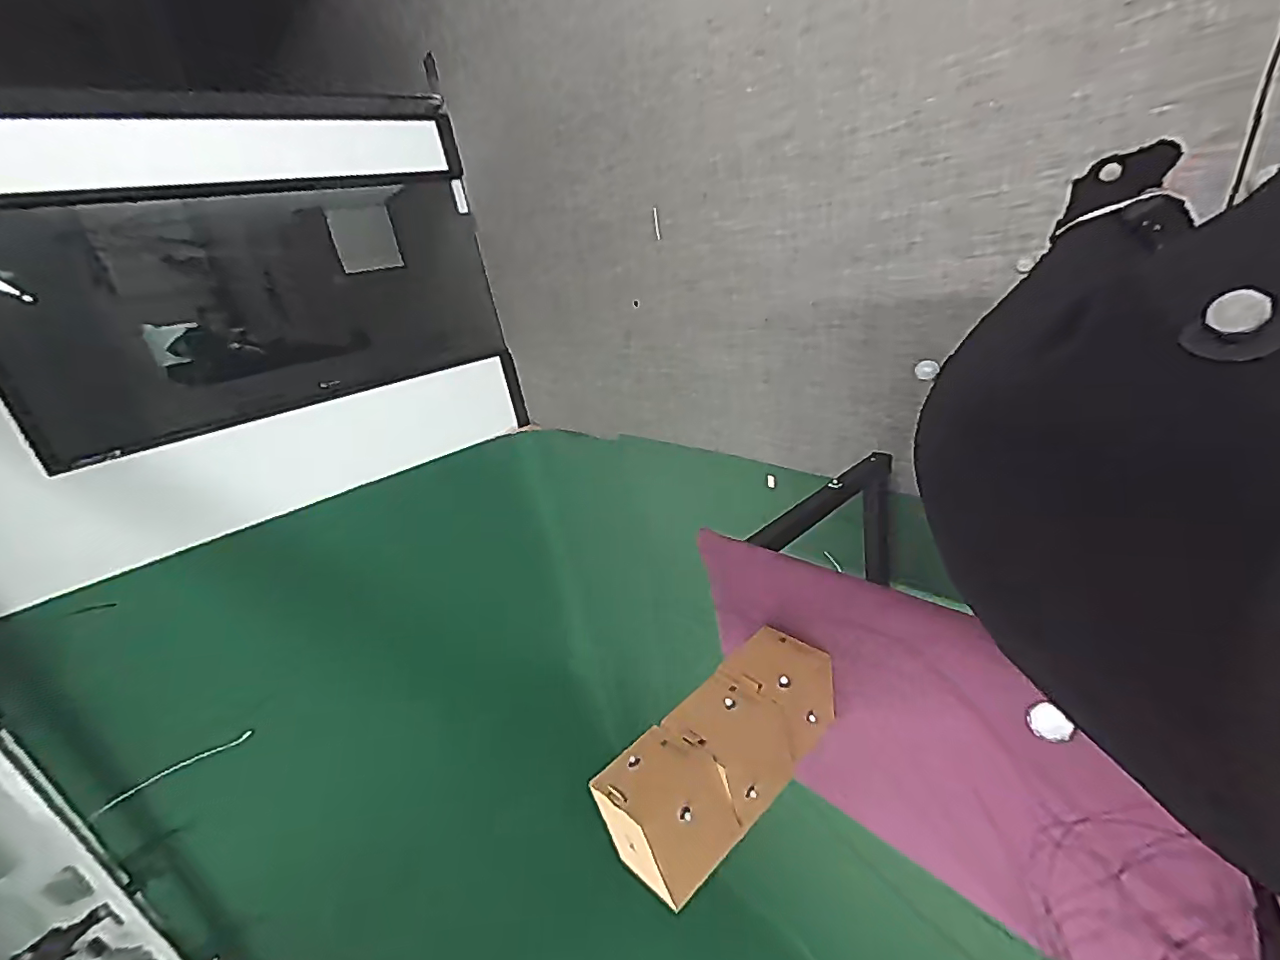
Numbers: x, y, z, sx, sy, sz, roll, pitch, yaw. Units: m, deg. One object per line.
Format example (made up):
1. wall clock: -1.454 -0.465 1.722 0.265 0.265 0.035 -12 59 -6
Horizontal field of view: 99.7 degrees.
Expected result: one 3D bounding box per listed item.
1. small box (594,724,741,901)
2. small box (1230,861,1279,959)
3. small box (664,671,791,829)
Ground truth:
1. small box: 0.052 0.577 0.968 0.168 0.176 0.179 -4 110 55
2. small box: 0.779 0.587 0.596 0.168 0.176 0.179 14 122 49
3. small box: 0.176 0.514 1.054 0.168 0.176 0.179 12 122 49
